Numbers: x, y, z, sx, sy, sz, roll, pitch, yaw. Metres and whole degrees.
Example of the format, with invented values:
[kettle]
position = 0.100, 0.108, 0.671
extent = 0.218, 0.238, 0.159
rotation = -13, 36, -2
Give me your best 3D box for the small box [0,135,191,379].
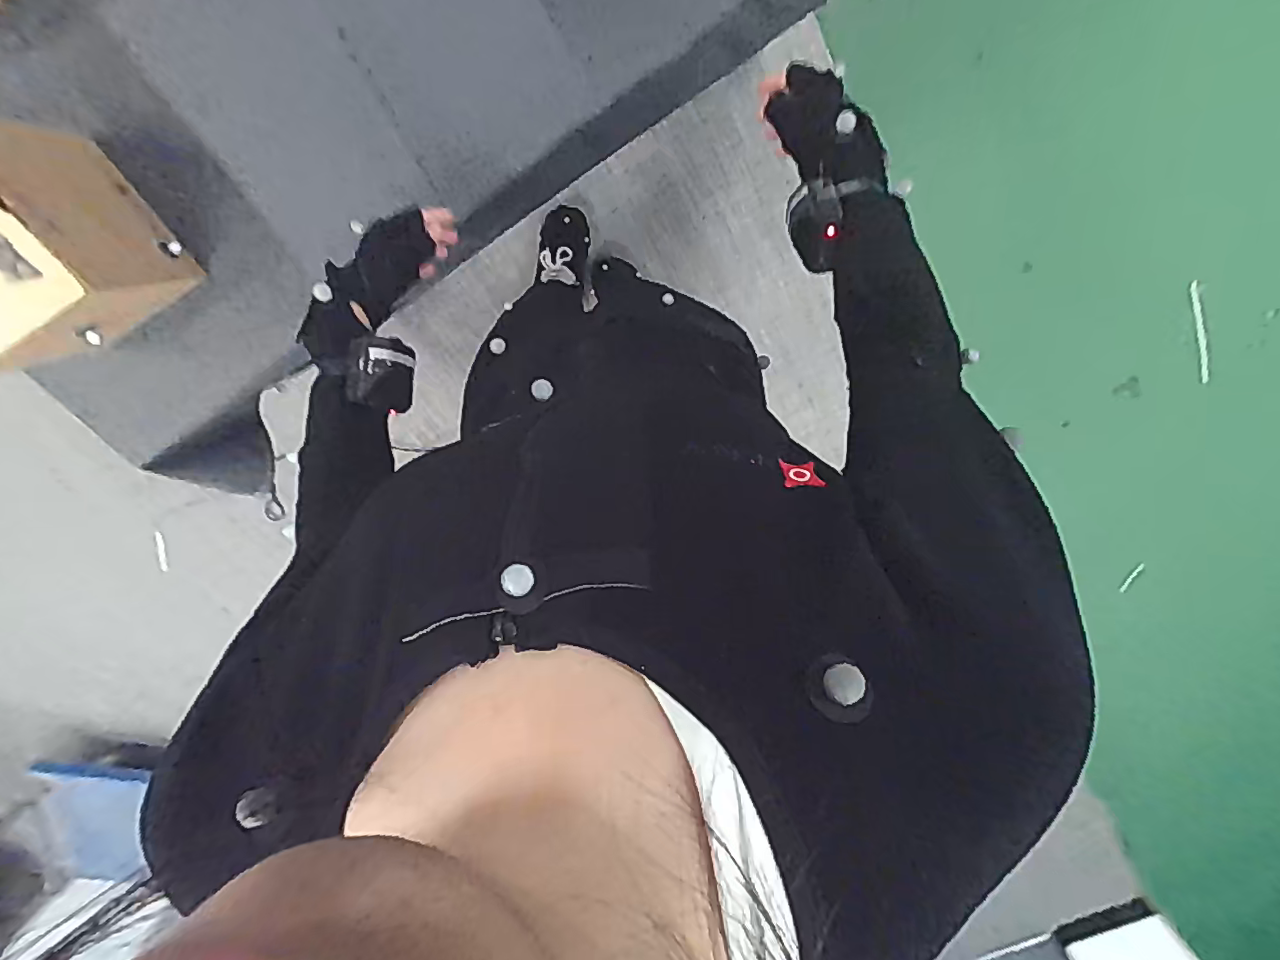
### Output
[small box]
position = -0.621, -0.228, 0.553
extent = 0.179, 0.176, 0.168
rotation = -28, 113, 10
